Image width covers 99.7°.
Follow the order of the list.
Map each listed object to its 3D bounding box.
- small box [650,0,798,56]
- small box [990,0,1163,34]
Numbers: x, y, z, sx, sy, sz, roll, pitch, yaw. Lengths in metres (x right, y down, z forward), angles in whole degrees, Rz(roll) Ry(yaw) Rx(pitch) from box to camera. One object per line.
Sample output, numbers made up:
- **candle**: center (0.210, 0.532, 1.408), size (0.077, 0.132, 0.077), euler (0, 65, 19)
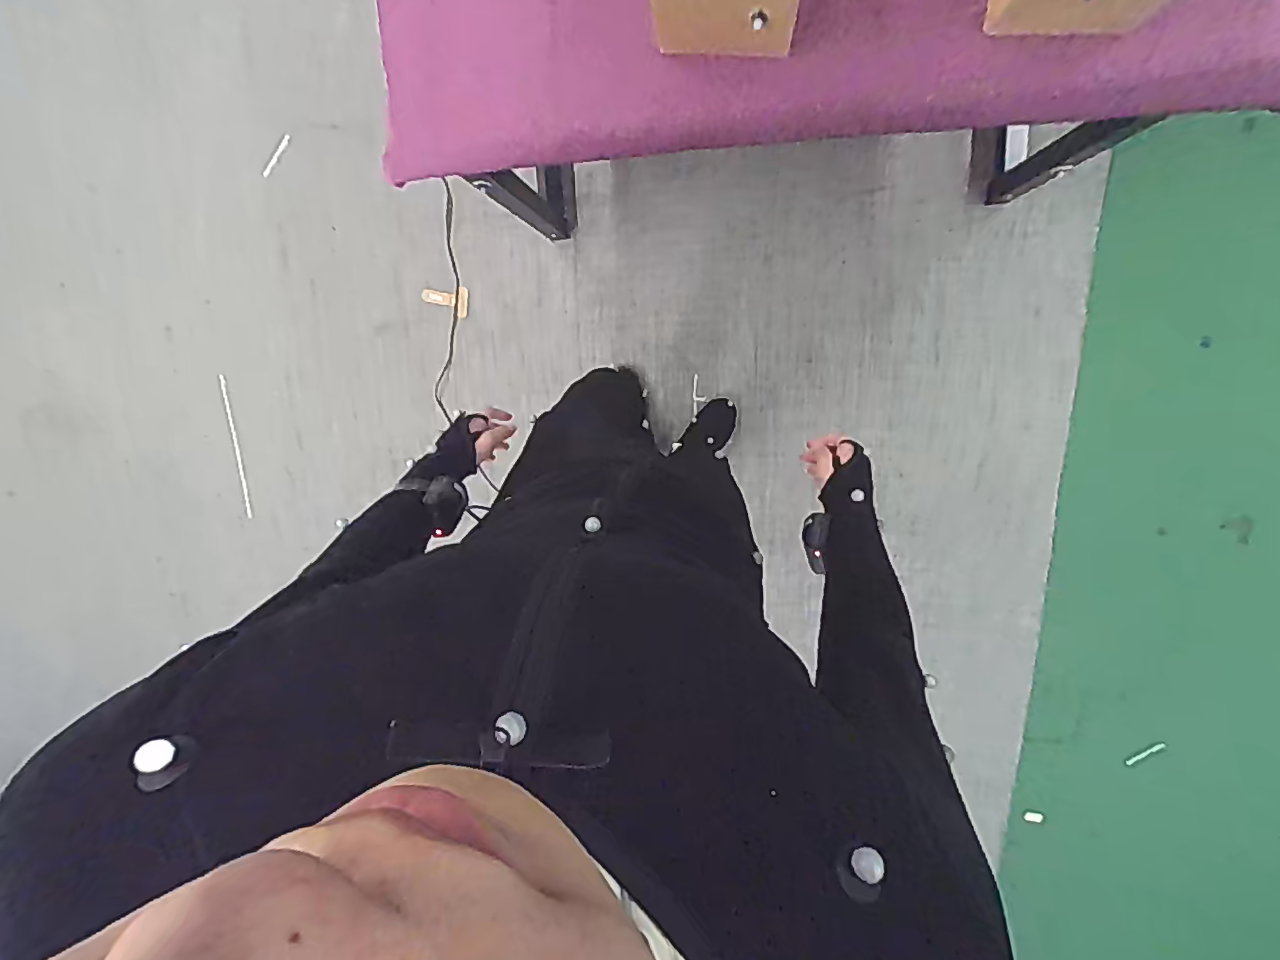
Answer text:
- **small box**: center (0.109, -0.636, 0.635), size (0.179, 0.176, 0.168), euler (8, 102, 7)
- **small box**: center (0.515, -0.620, 0.582), size (0.179, 0.176, 0.168), euler (5, 102, 7)
